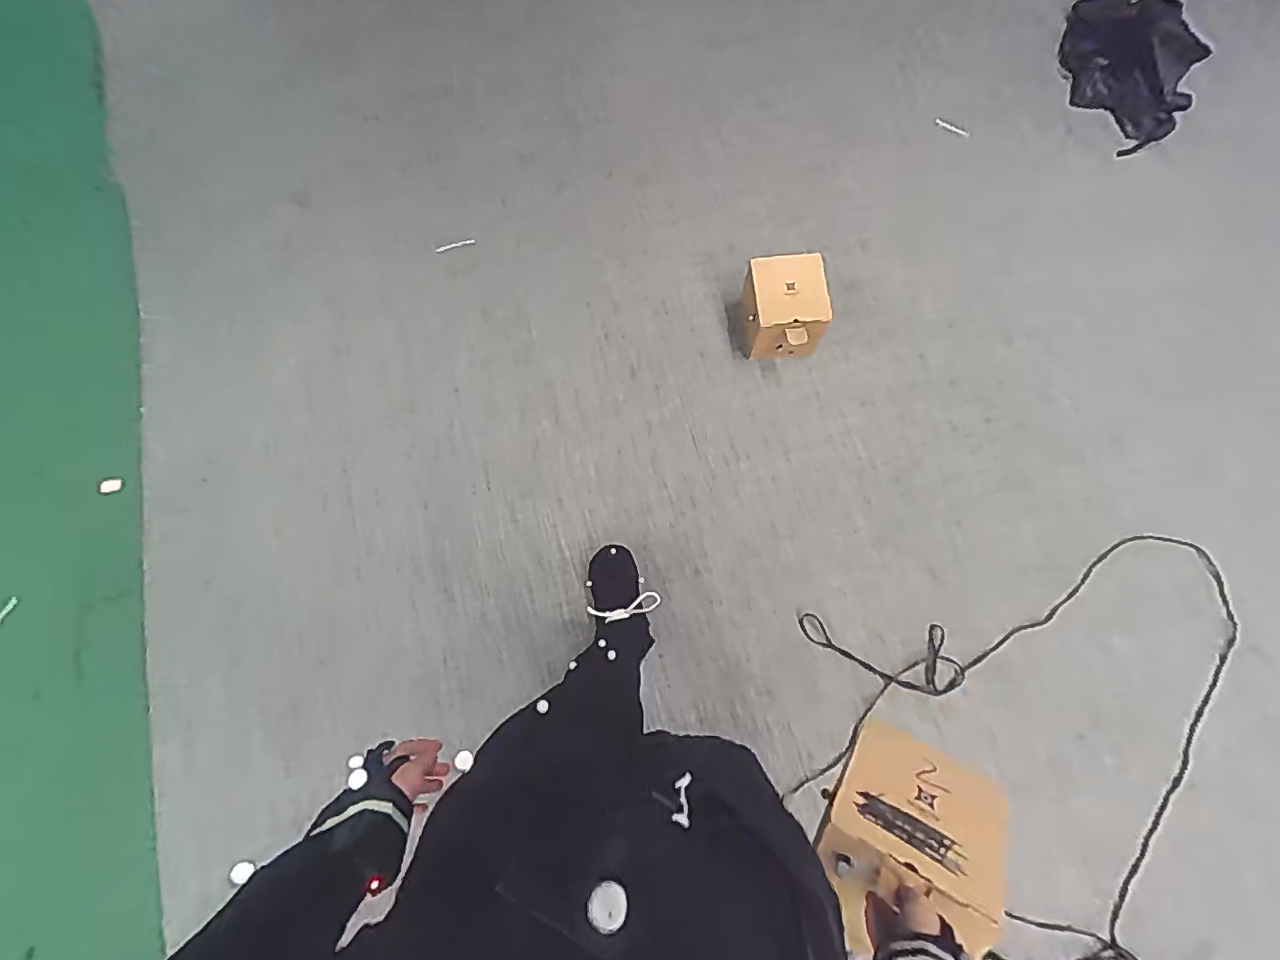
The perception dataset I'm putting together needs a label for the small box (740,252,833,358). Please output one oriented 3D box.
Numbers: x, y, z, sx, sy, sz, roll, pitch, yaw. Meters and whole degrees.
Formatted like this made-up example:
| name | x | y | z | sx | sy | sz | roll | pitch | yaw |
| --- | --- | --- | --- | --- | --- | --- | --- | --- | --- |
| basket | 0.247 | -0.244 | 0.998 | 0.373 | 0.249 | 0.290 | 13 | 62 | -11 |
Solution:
| name | x | y | z | sx | sy | sz | roll | pitch | yaw |
| --- | --- | --- | --- | --- | --- | --- | --- | --- | --- |
| small box | 0.339 | -0.411 | 1.289 | 0.168 | 0.176 | 0.179 | -5 | 76 | 0 |
